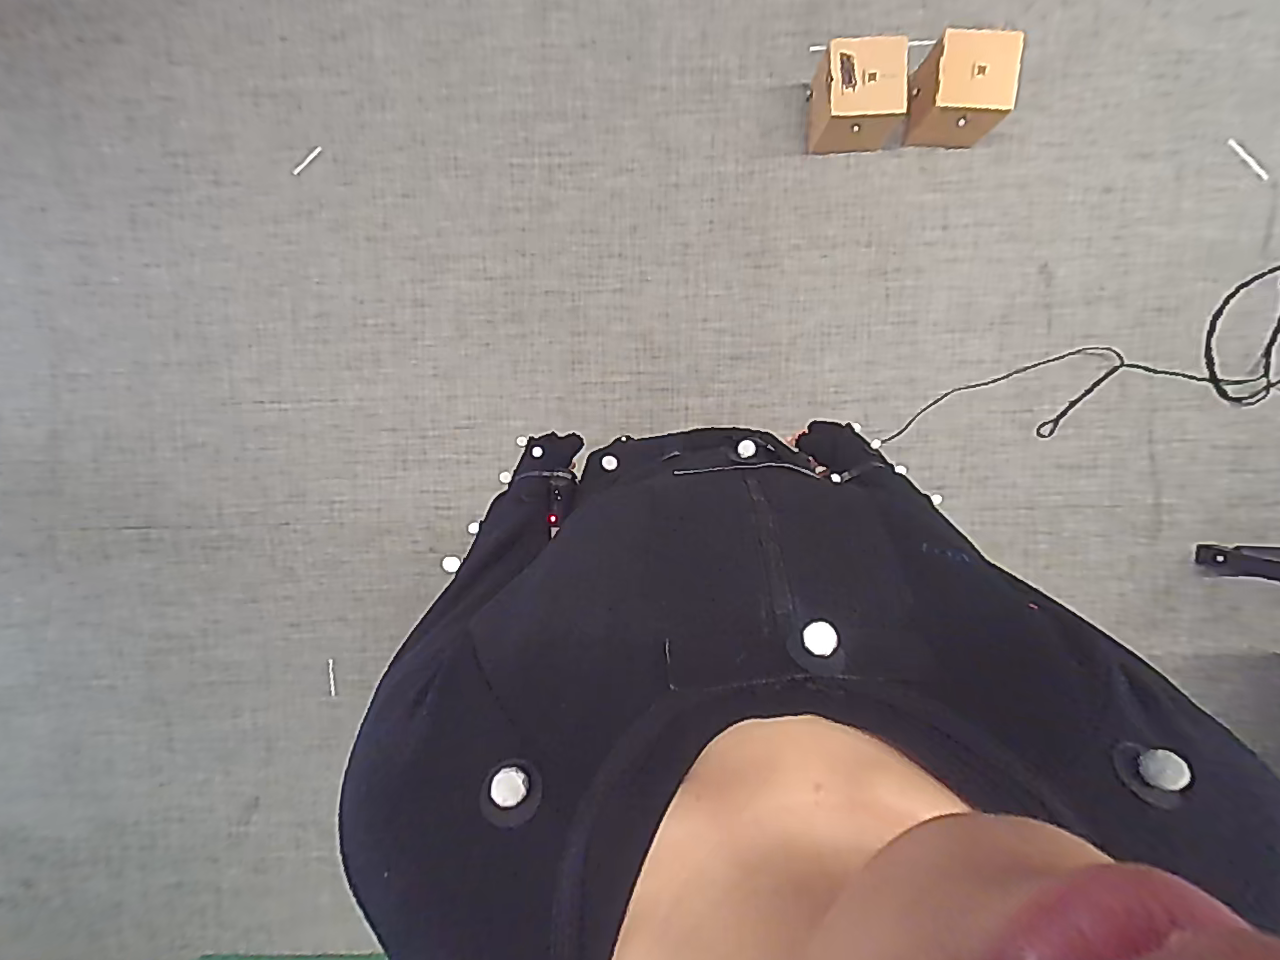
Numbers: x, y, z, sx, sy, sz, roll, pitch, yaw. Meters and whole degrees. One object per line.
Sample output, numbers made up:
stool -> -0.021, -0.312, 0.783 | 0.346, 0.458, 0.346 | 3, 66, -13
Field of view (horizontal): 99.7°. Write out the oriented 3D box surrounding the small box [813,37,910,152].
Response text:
small box -> 0.520, -0.909, 1.292 | 0.179, 0.176, 0.168 | -2, 95, 2

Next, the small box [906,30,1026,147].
small box -> 0.765, -0.918, 1.283 | 0.179, 0.176, 0.168 | 4, 96, 3
